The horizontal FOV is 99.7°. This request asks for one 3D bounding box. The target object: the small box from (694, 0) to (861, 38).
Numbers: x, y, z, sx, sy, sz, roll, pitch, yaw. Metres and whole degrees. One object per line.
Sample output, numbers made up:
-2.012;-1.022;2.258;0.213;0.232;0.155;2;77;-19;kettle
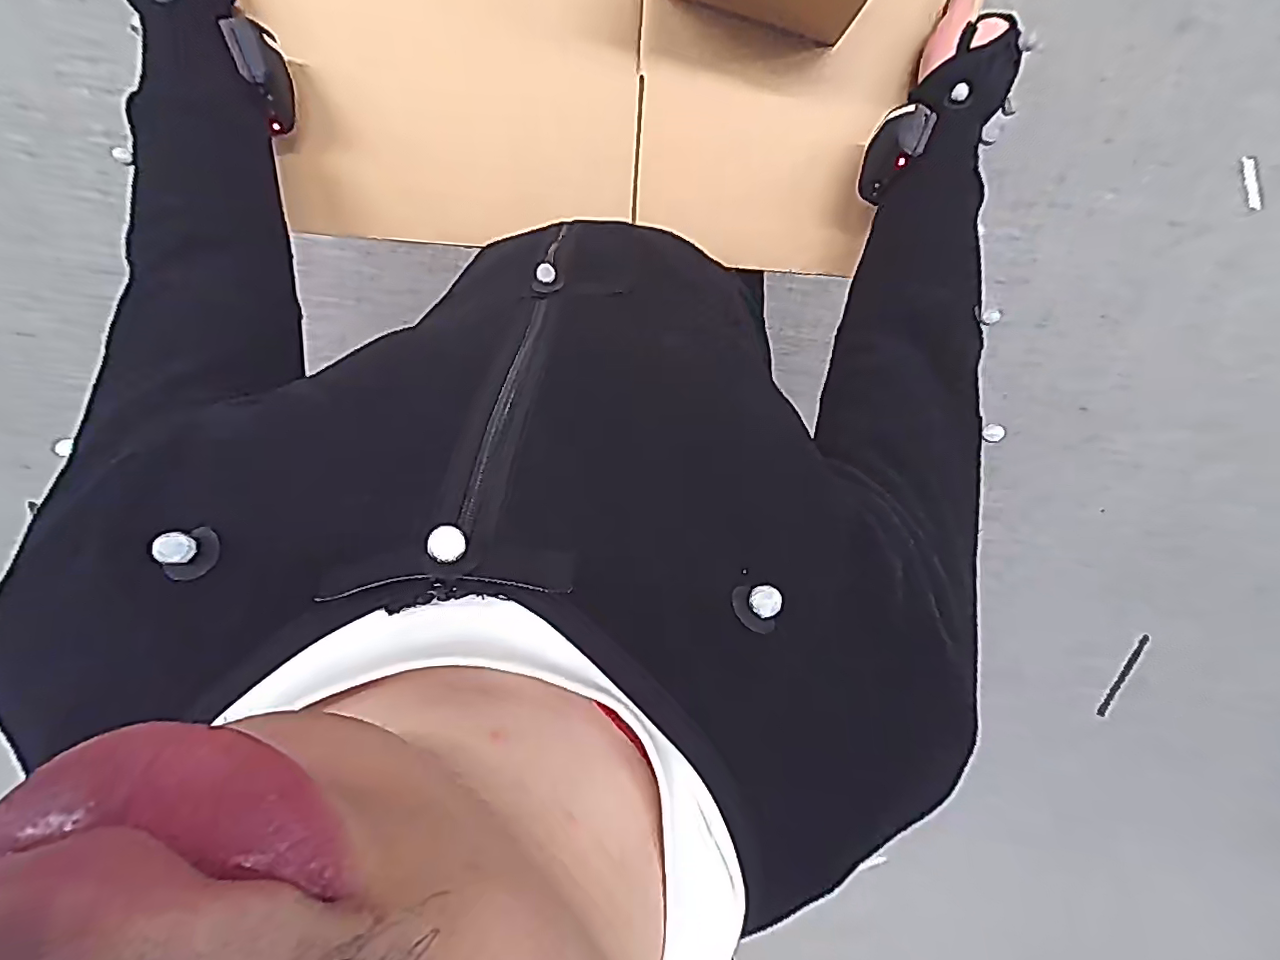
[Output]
0.114;-0.467;0.389;0.179;0.176;0.168;14;107;-3;small box
